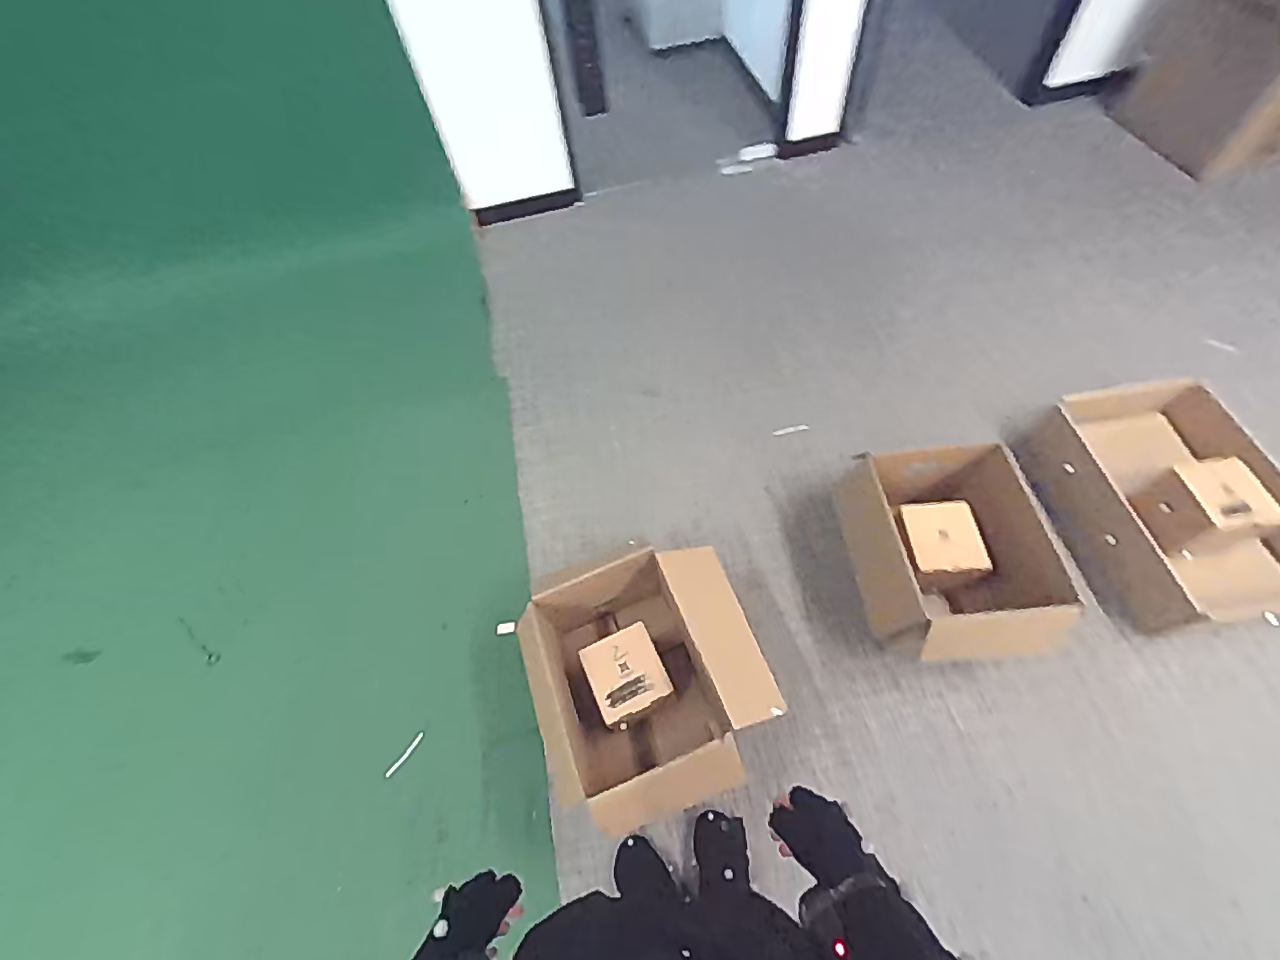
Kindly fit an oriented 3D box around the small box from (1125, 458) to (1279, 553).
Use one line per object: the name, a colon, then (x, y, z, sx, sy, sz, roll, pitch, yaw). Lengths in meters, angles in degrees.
small box: (1.376, 0.071, 1.337, 0.168, 0.176, 0.179, -6, 57, 1)
